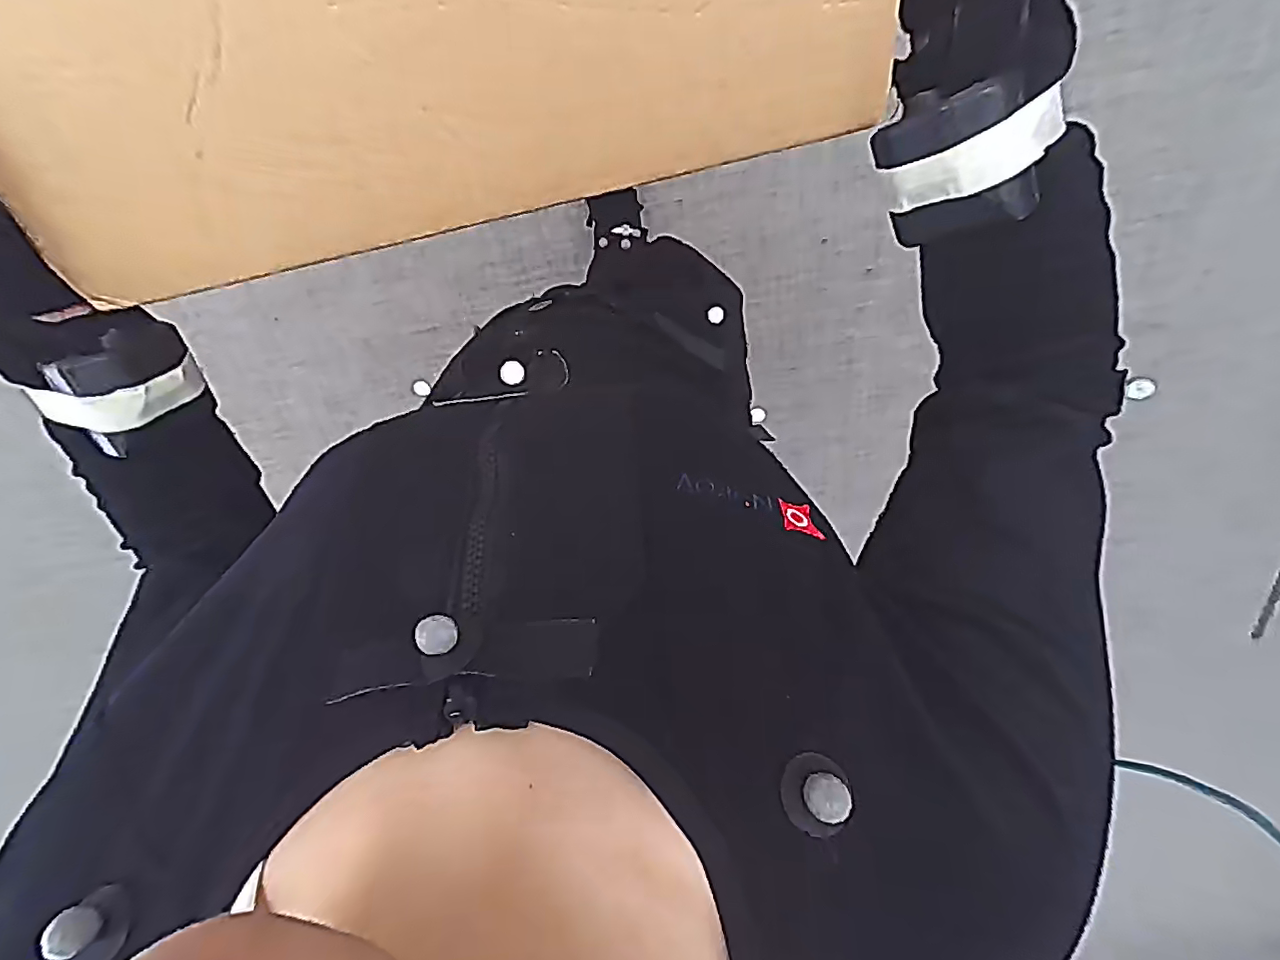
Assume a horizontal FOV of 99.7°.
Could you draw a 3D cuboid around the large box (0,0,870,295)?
[{"bbox_3d":[-0.129,-0.347,0.269,0.408,0.320,0.320,-11,135,4],"label":"large box"}]
